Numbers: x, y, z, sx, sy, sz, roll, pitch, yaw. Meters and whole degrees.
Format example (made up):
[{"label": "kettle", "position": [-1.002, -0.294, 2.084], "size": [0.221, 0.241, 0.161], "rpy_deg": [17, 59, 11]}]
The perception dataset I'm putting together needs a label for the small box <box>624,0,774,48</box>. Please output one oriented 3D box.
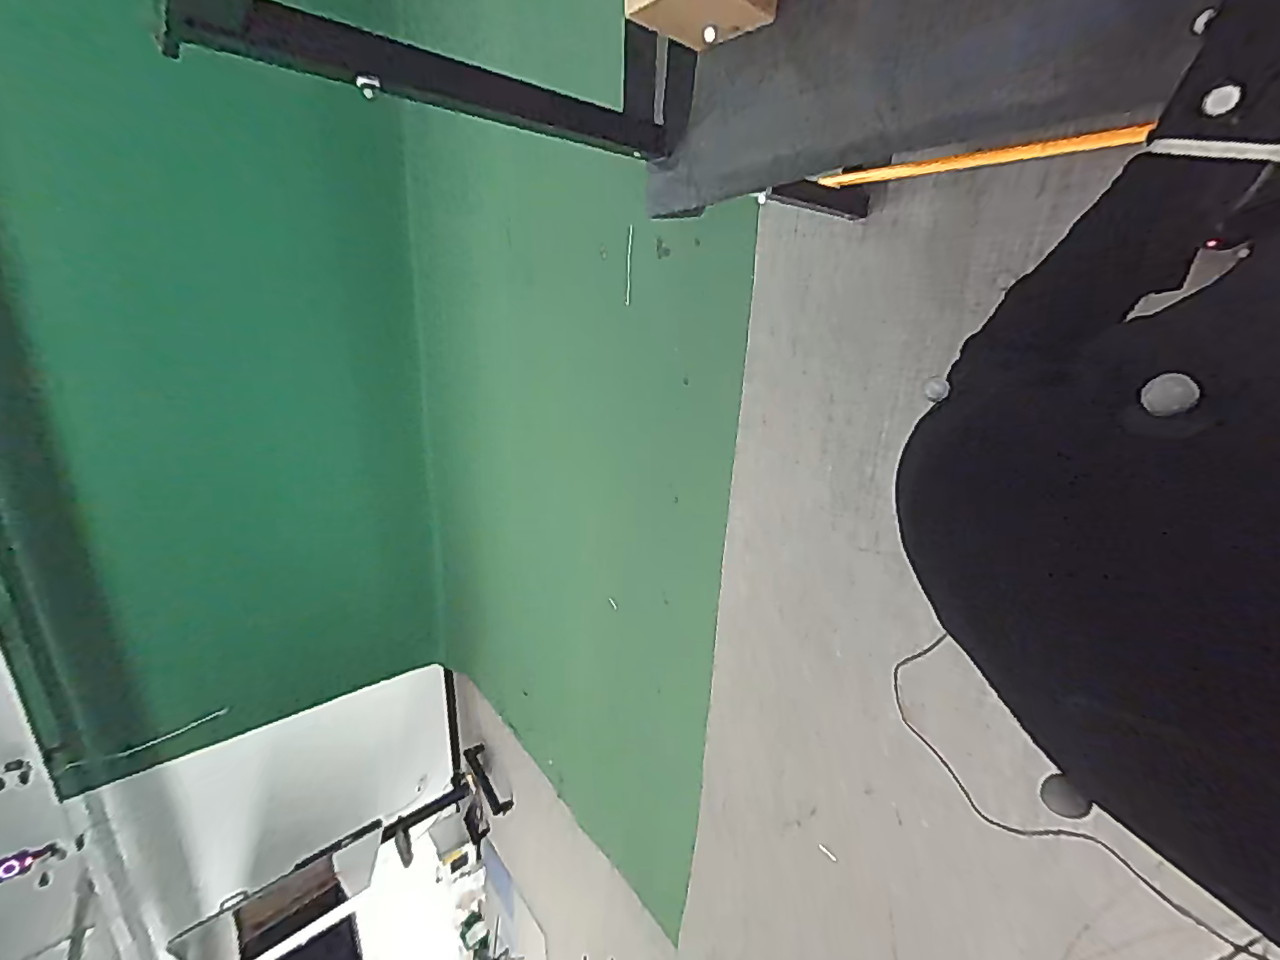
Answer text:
[{"label": "small box", "position": [0.095, -0.791, 0.801], "size": [0.168, 0.176, 0.179], "rpy_deg": [23, 117, 46]}]
